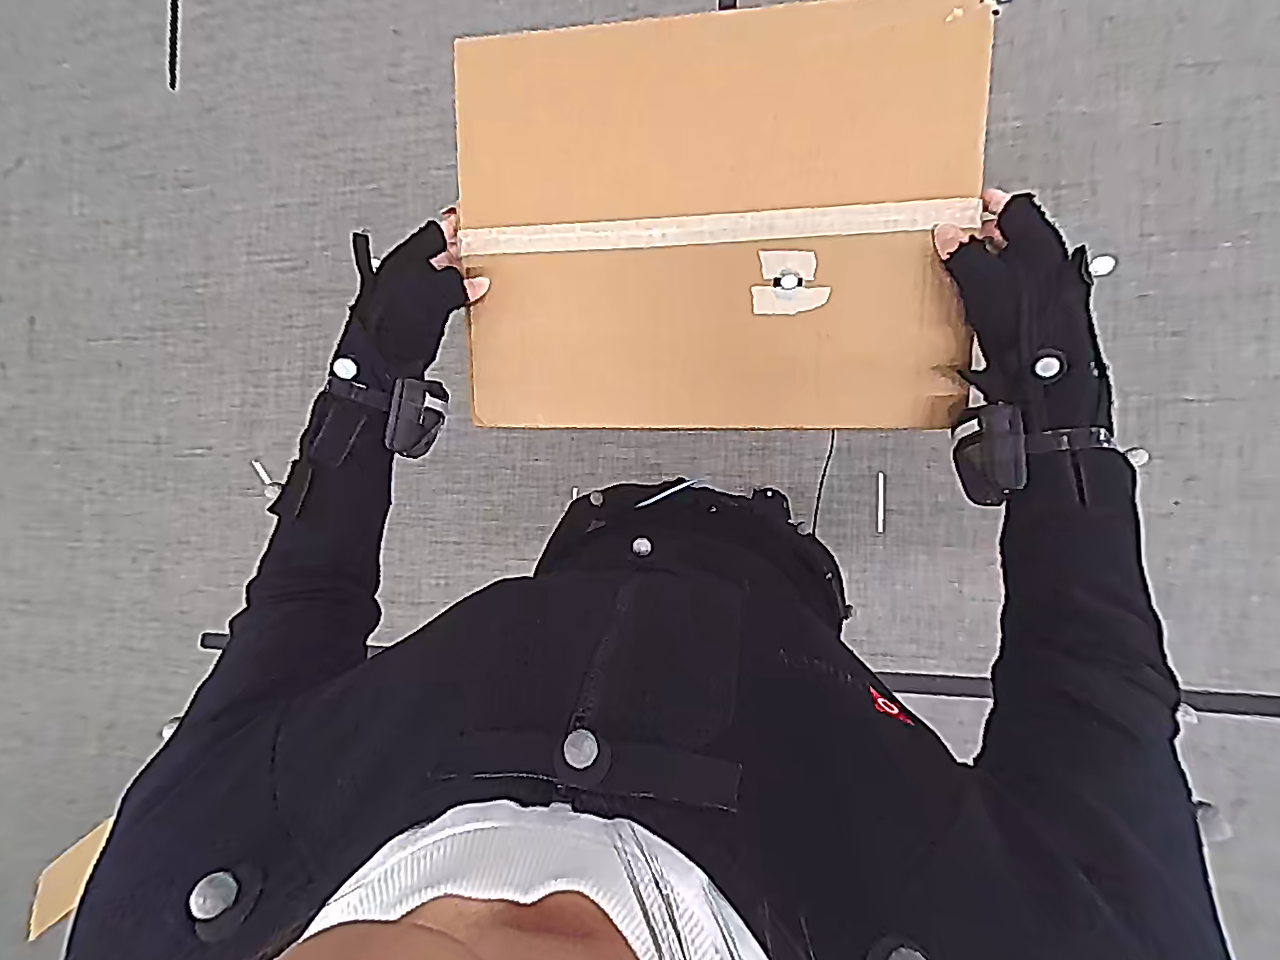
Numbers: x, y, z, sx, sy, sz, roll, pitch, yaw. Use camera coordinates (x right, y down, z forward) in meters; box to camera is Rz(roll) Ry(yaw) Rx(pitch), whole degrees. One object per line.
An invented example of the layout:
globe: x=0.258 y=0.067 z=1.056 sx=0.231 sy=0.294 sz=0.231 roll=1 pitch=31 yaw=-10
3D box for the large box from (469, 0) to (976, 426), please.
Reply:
large box: x=0.074 y=-0.221 z=0.589 sx=0.408 sy=0.320 sz=0.320 roll=1 pitch=98 yaw=8
